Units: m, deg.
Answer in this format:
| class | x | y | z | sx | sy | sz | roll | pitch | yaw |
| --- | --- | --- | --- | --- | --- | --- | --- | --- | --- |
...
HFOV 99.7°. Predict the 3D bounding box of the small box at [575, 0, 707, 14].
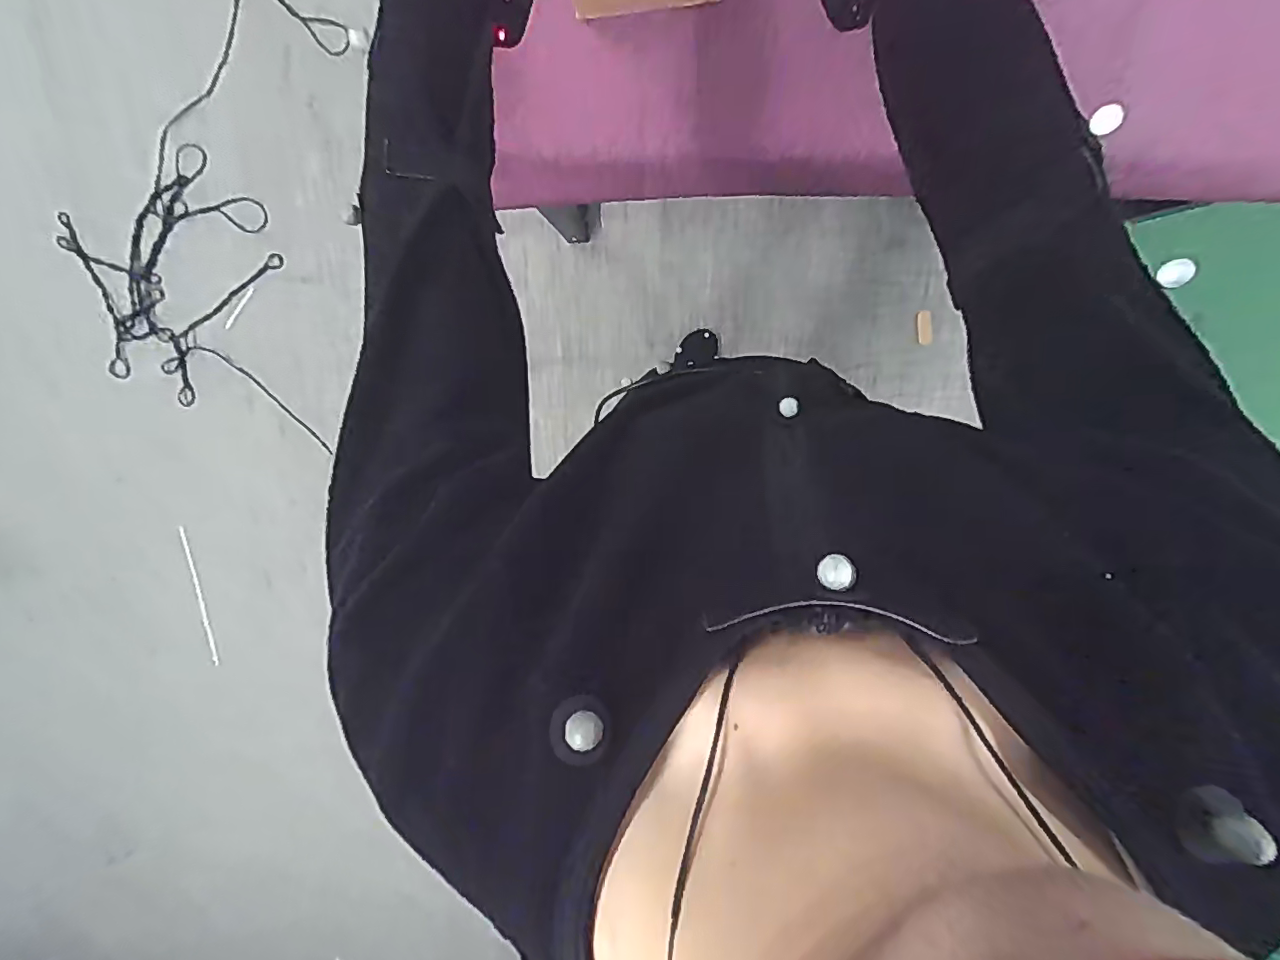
| class | x | y | z | sx | sy | sz | roll | pitch | yaw |
| --- | --- | --- | --- | --- | --- | --- | --- | --- | --- |
| small box | 0.001 | -0.610 | 0.539 | 0.179 | 0.176 | 0.168 | -4 | 105 | 3 |
